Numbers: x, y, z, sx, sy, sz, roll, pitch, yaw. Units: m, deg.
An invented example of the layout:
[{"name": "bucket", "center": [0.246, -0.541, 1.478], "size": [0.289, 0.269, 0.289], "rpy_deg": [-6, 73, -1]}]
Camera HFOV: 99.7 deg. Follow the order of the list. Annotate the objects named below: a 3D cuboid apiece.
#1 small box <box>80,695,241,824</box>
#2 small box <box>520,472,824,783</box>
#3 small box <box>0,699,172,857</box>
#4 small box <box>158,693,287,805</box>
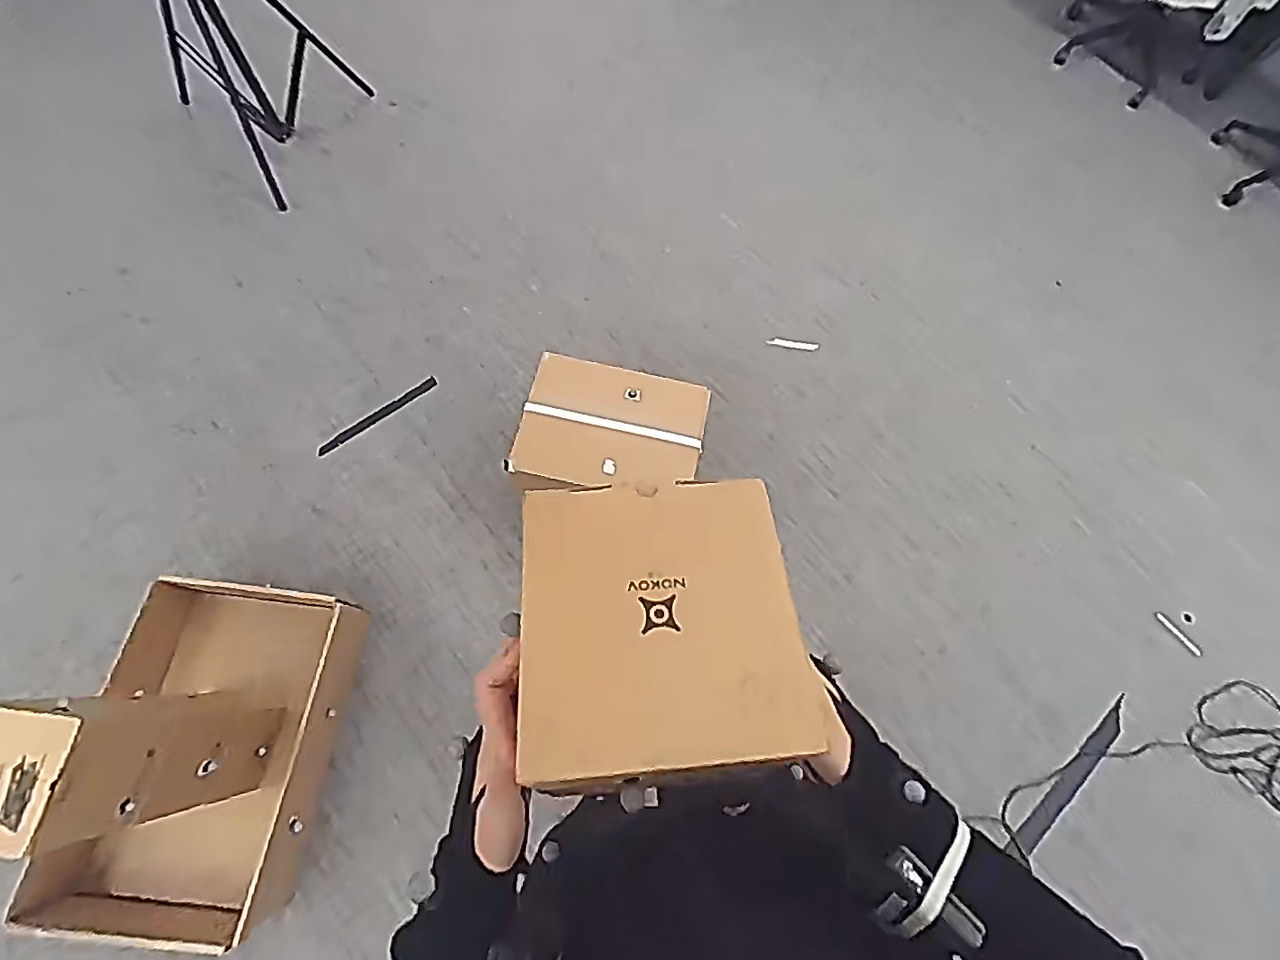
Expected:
[{"name": "small box", "center": [-0.854, 0.472, 0.936], "size": [0.179, 0.176, 0.168], "rpy_deg": [10, 70, -2]}, {"name": "small box", "center": [0.010, 0.115, 0.395], "size": [0.168, 0.176, 0.179], "rpy_deg": [-3, 57, -5]}, {"name": "small box", "center": [-0.846, 0.415, 0.782], "size": [0.179, 0.176, 0.168], "rpy_deg": [8, 69, -1]}, {"name": "small box", "center": [-0.865, 0.530, 1.087], "size": [0.179, 0.176, 0.168], "rpy_deg": [11, 69, -1]}]
